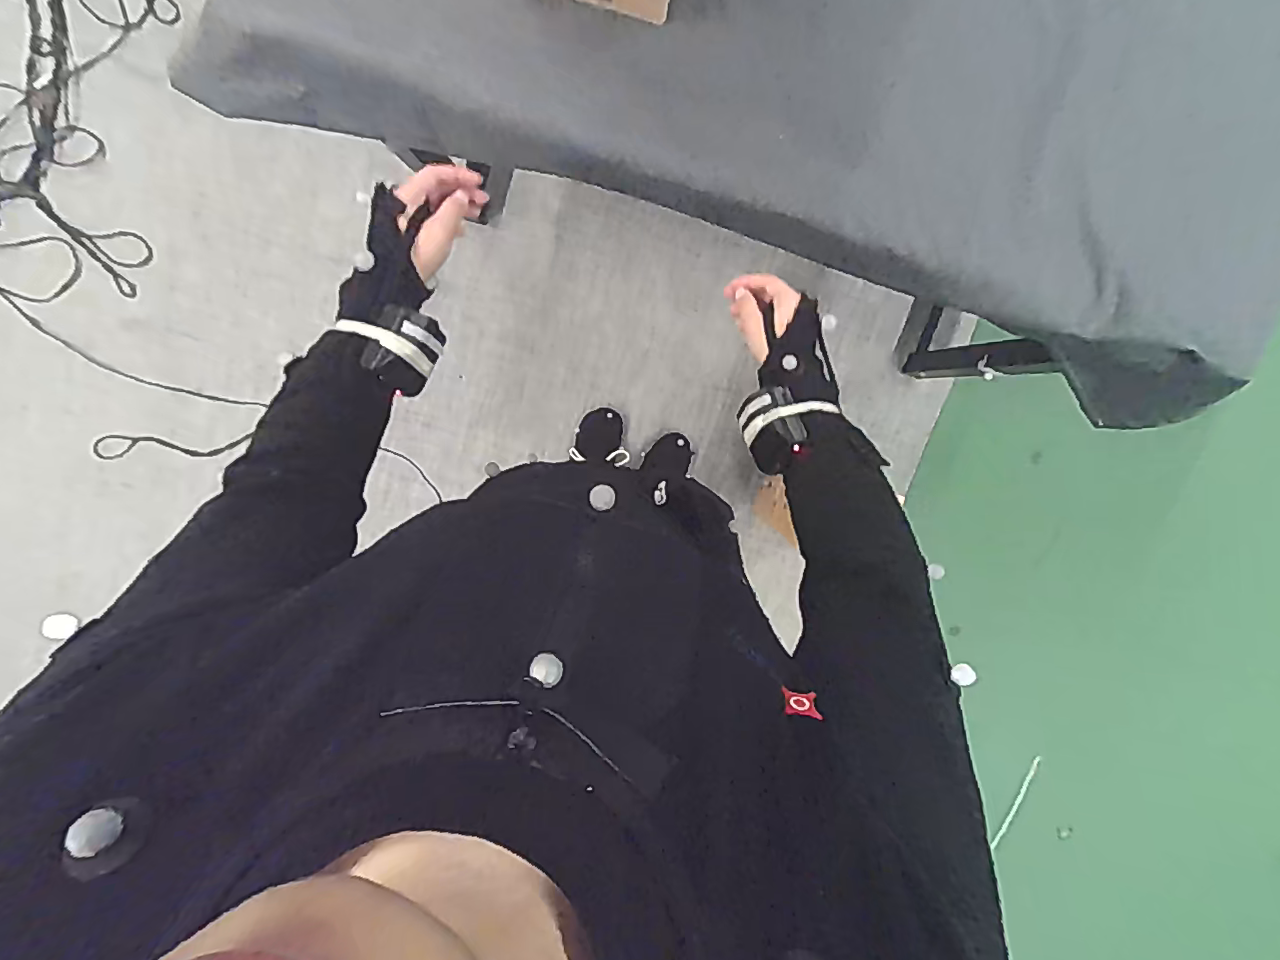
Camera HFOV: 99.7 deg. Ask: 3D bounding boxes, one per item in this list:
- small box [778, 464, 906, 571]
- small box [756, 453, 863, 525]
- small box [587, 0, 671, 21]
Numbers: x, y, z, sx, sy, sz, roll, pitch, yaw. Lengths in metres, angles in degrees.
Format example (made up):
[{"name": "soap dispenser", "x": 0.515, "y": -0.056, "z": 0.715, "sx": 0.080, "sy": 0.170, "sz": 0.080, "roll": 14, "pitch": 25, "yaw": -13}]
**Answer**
[{"name": "small box", "x": 0.416, "y": 0.071, "z": 1.141, "sx": 0.179, "sy": 0.176, "sz": 0.168, "roll": 16, "pitch": 99, "yaw": -3}, {"name": "small box", "x": 0.397, "y": 0.036, "z": 1.302, "sx": 0.179, "sy": 0.176, "sz": 0.168, "roll": 17, "pitch": 98, "yaw": -3}, {"name": "small box", "x": -0.029, "y": -0.561, "z": 0.463, "sx": 0.168, "sy": 0.176, "sz": 0.179, "roll": 15, "pitch": 99, "yaw": -3}]
